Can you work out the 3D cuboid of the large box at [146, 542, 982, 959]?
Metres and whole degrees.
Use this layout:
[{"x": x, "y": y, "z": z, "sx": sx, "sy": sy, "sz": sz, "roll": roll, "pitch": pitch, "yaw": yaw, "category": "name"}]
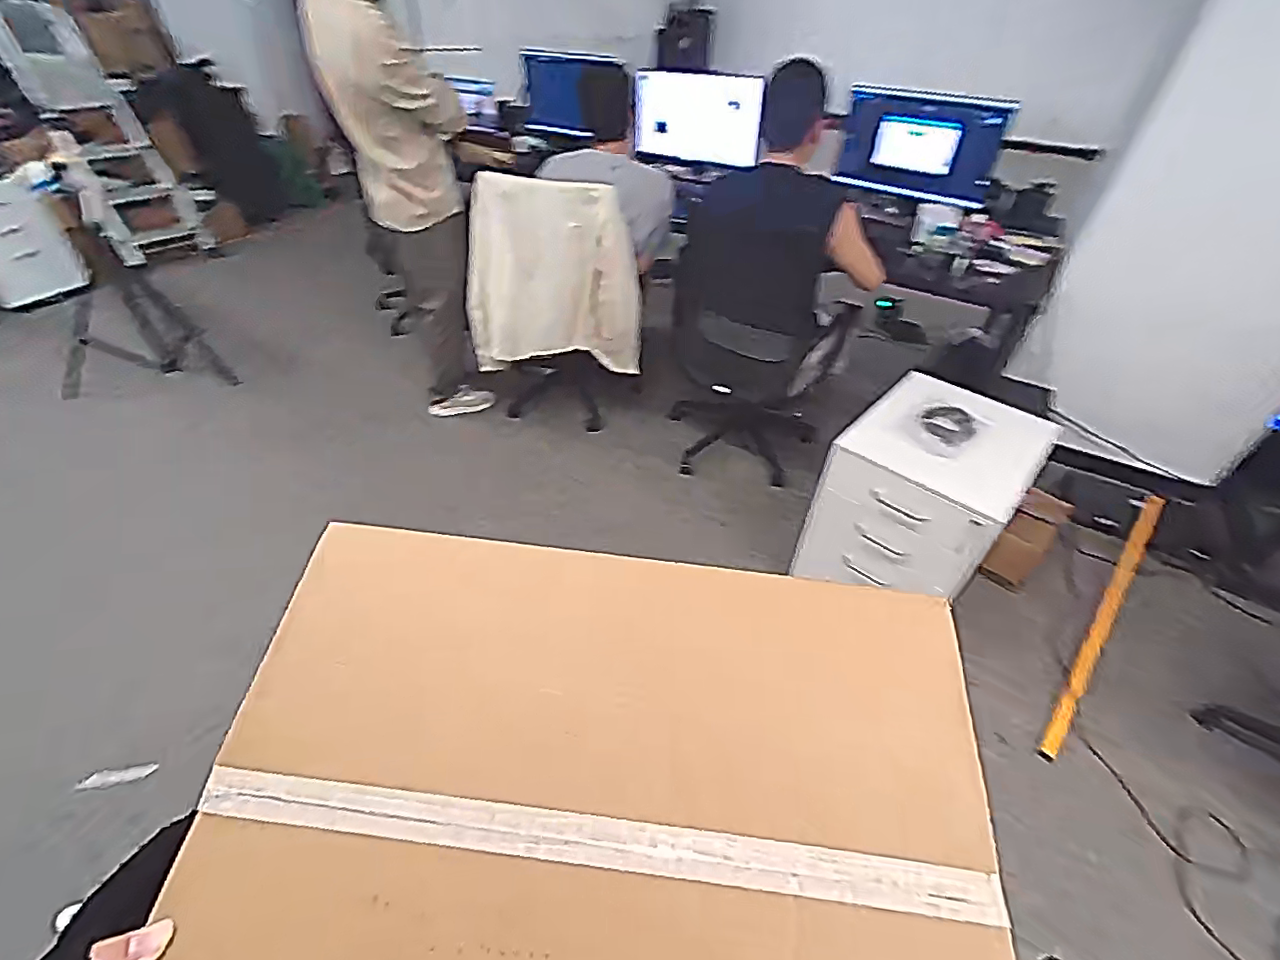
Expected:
[{"x": -0.033, "y": 0.265, "z": 0.410, "sx": 0.408, "sy": 0.320, "sz": 0.320, "roll": 6, "pitch": 60, "yaw": 2, "category": "large box"}]
